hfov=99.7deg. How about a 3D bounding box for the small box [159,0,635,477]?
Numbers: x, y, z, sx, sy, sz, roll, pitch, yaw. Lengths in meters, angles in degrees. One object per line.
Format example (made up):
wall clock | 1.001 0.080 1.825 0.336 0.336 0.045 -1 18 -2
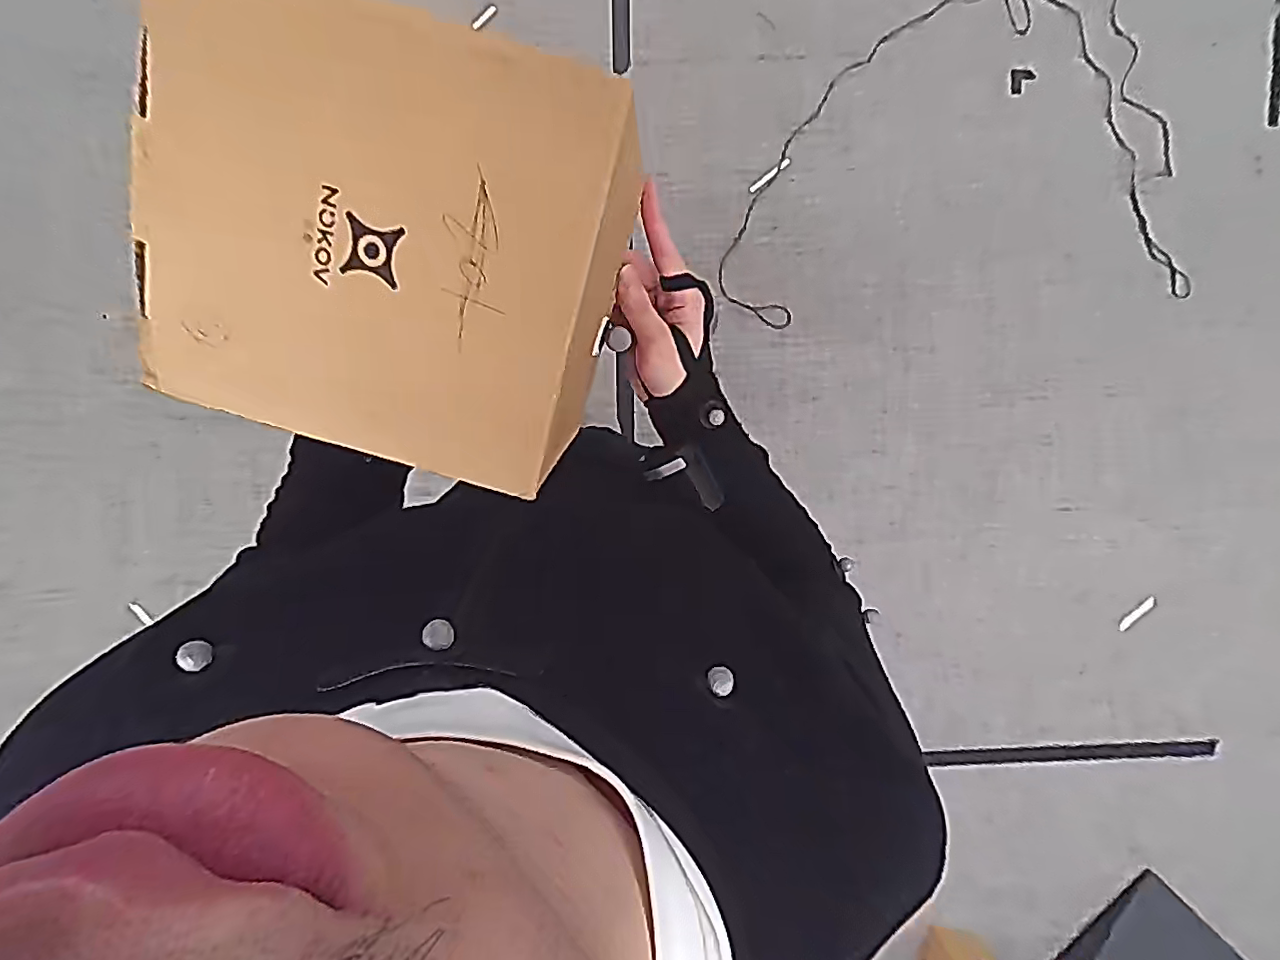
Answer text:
small box | -0.108 -0.121 0.301 0.179 0.176 0.168 16 108 -4
